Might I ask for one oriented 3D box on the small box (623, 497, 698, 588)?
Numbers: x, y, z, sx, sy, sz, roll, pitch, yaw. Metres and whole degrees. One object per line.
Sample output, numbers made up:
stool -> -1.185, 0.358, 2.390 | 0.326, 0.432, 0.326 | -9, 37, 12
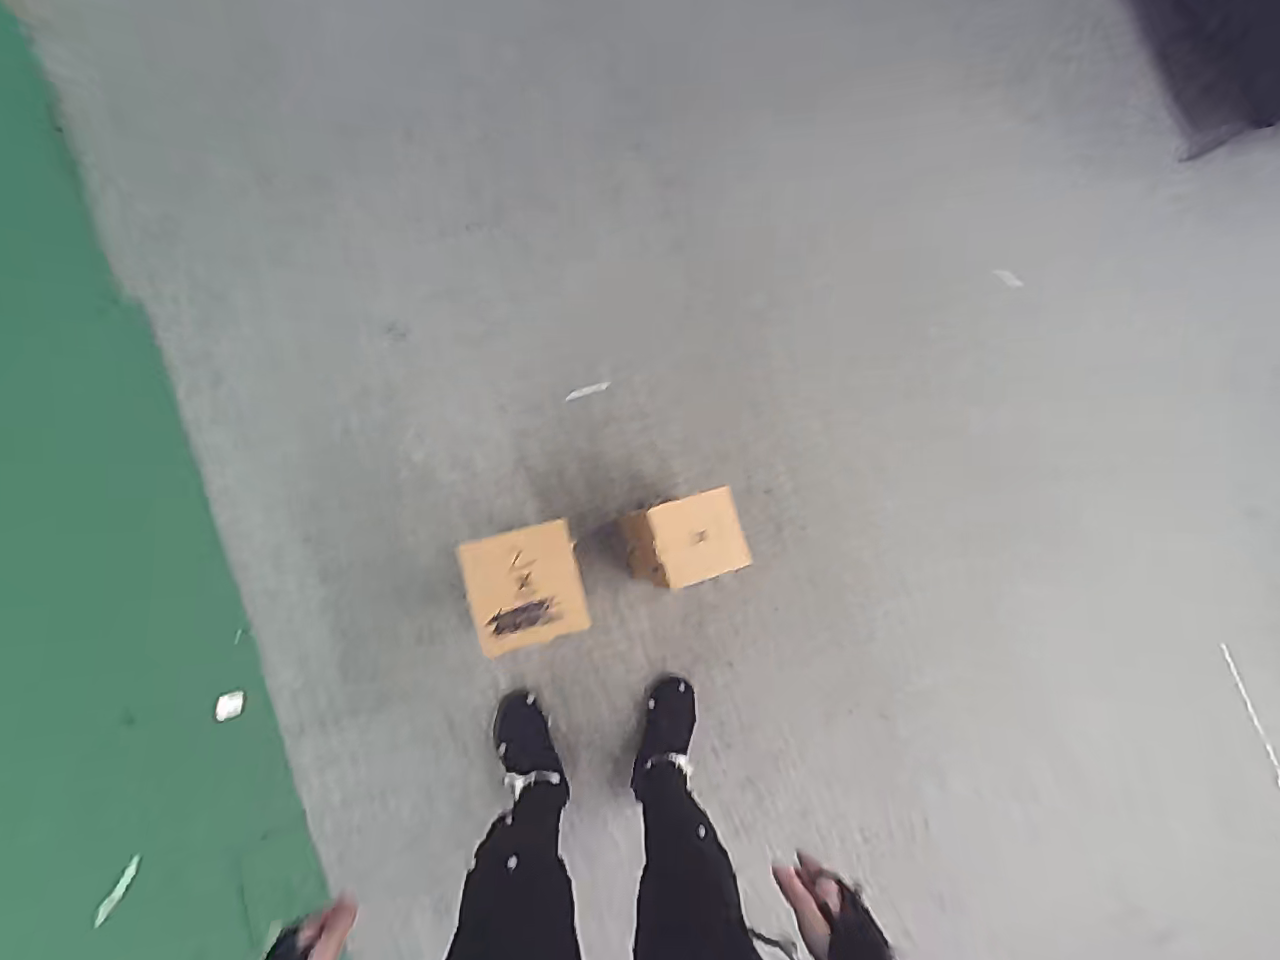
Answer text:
small box -> 0.065, 0.152, 1.300 | 0.179, 0.176, 0.168 | -18, 85, -12

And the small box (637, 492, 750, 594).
small box -> 0.101, 0.135, 1.141 | 0.179, 0.176, 0.168 | -16, 85, -14

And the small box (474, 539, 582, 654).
small box -> -0.217, 0.220, 1.061 | 0.168, 0.176, 0.179 | -14, 84, -14
